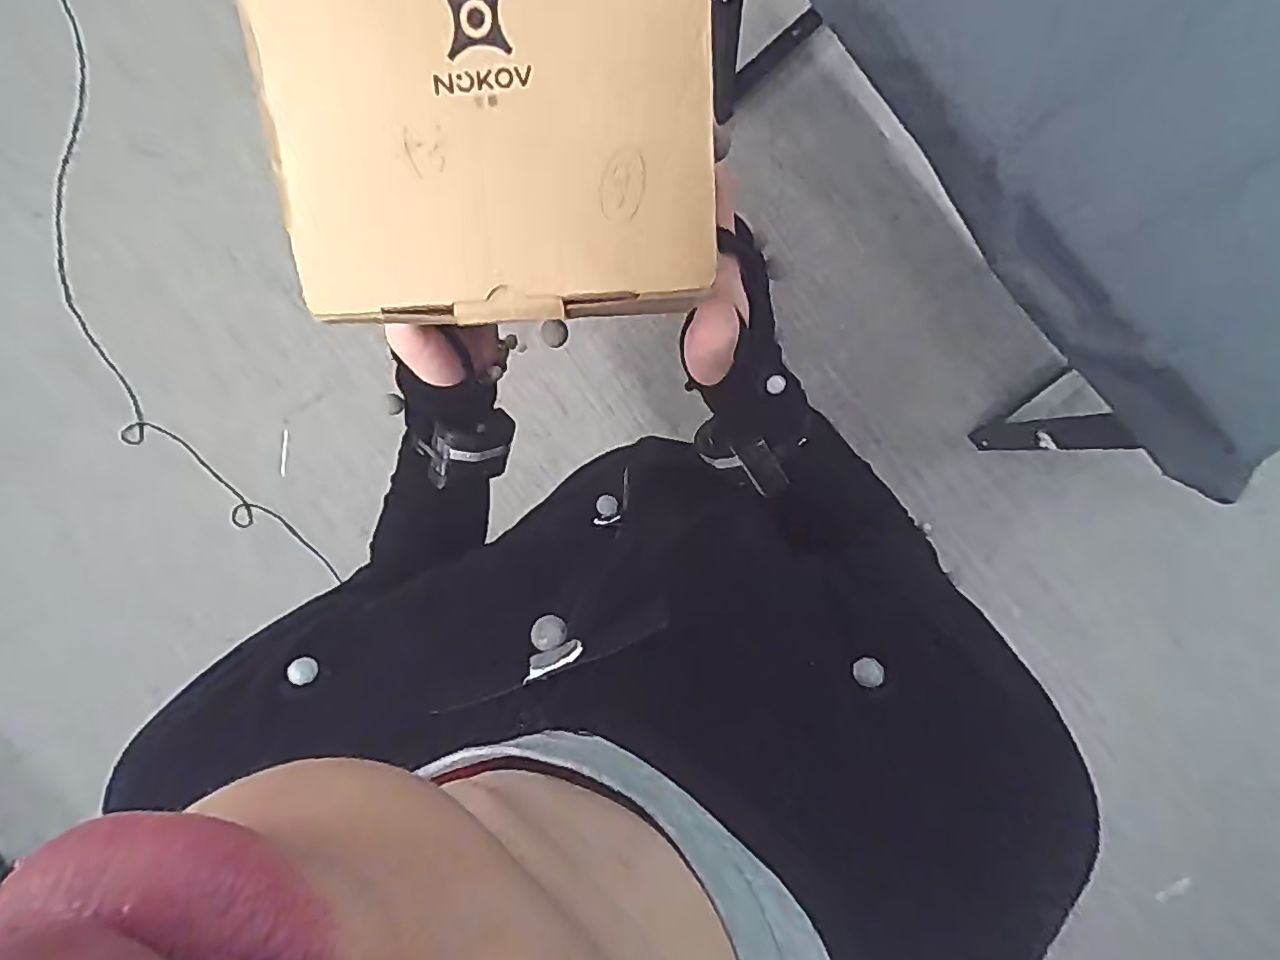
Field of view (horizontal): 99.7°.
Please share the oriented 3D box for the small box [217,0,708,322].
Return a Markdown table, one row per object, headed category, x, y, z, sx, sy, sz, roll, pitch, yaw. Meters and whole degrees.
| category | x | y | z | sx | sy | sz | roll | pitch | yaw |
| --- | --- | --- | --- | --- | --- | --- | --- | --- | --- |
| small box | -0.057 | -0.173 | 0.259 | 0.168 | 0.176 | 0.179 | -3 | 107 | 1 |
